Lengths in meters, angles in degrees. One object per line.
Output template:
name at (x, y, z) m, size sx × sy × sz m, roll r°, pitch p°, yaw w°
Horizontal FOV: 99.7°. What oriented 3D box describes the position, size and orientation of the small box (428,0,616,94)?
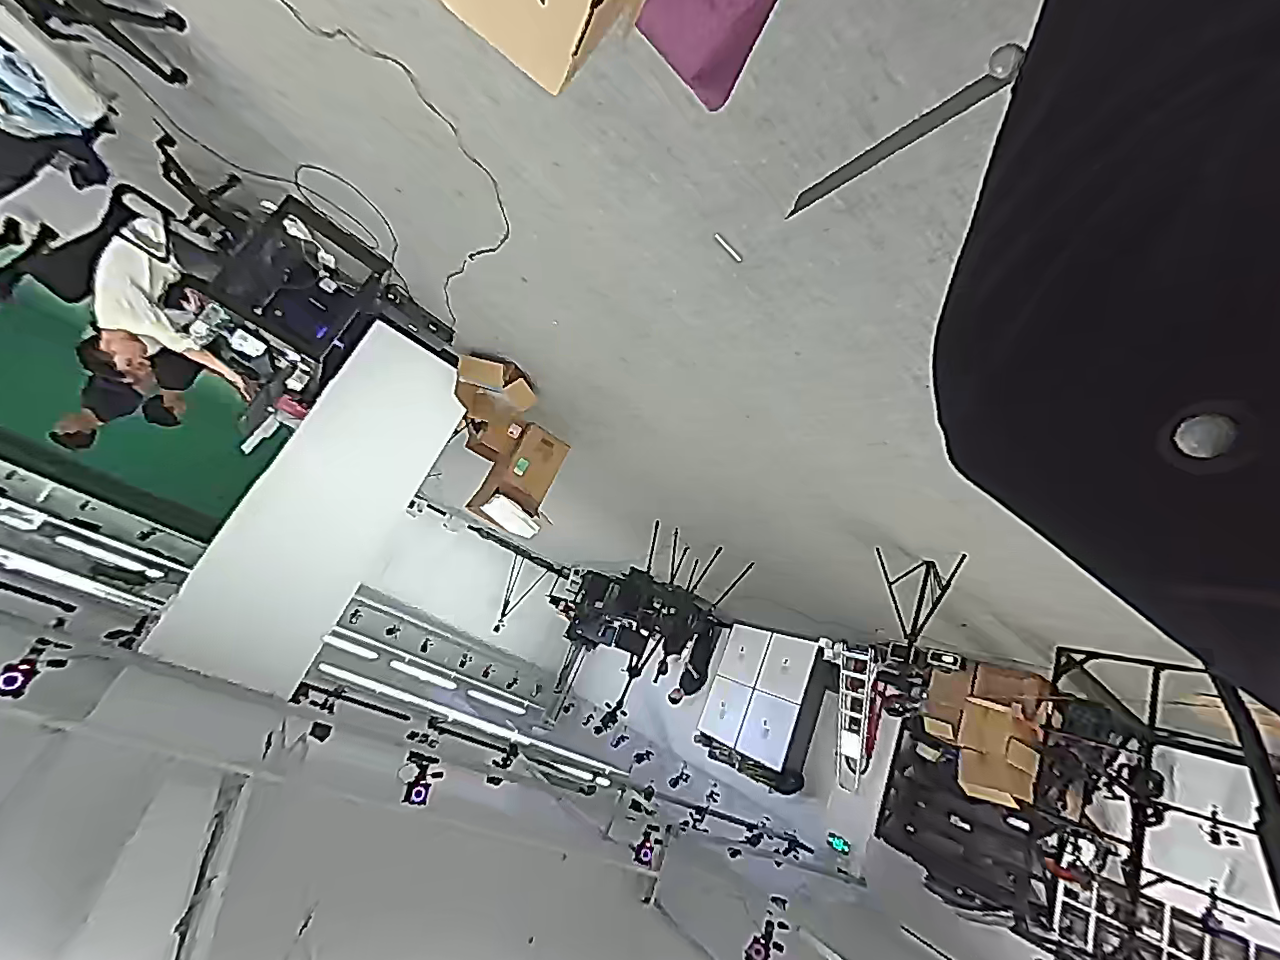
small box at (-0.057, -0.361, 0.266) m, size 0.179 × 0.176 × 0.168 m, roll 32°, pitch 160°, yaw -19°
